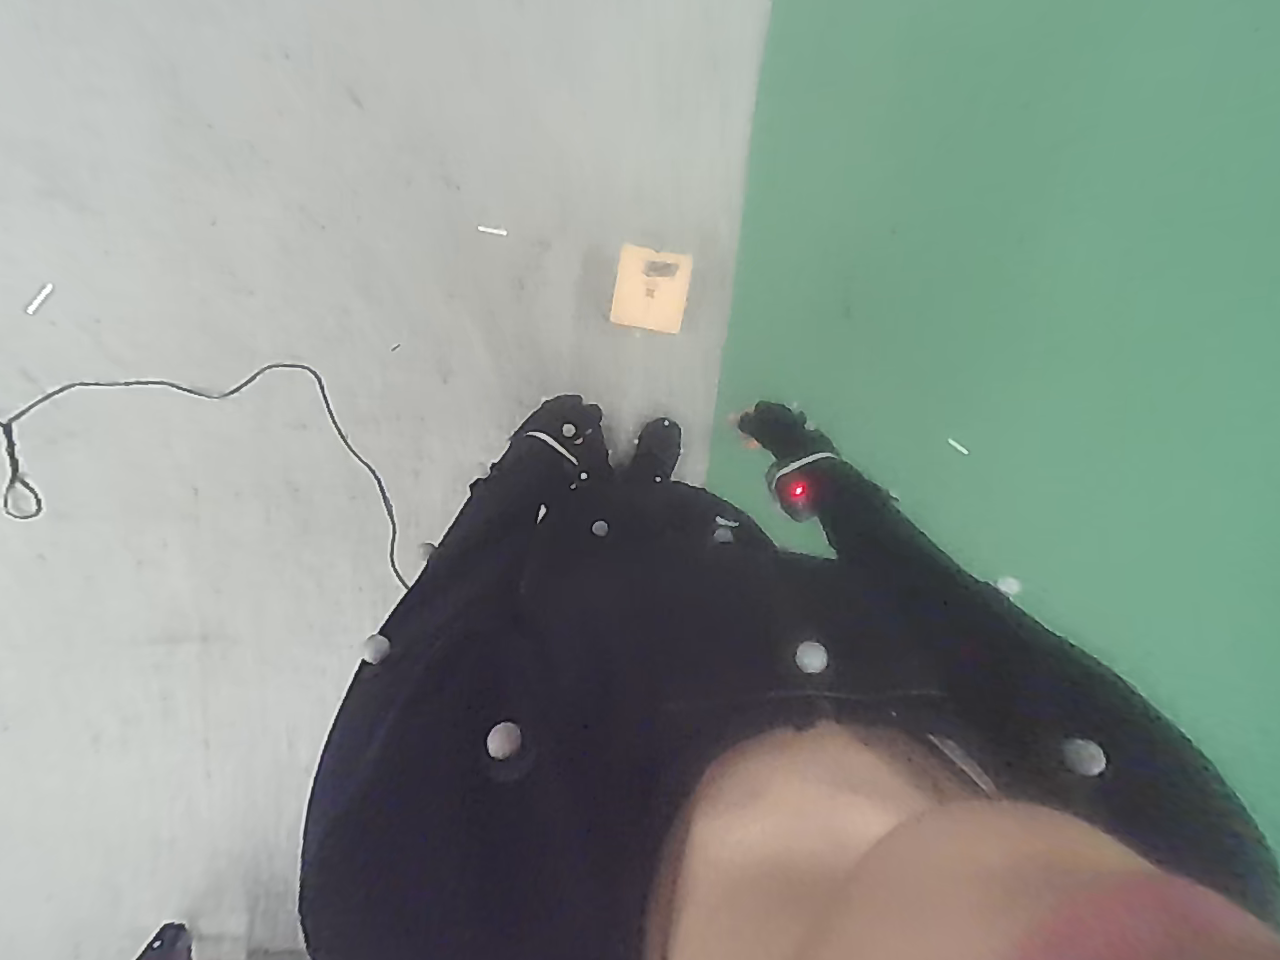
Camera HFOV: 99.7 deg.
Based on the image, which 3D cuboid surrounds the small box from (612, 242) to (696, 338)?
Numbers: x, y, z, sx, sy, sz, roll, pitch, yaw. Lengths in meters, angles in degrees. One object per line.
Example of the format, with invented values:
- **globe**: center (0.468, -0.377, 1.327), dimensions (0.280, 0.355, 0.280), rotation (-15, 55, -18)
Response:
- **small box**: center (0.025, -0.445, 1.292), dimensions (0.168, 0.176, 0.179), rotation (9, 101, -5)
